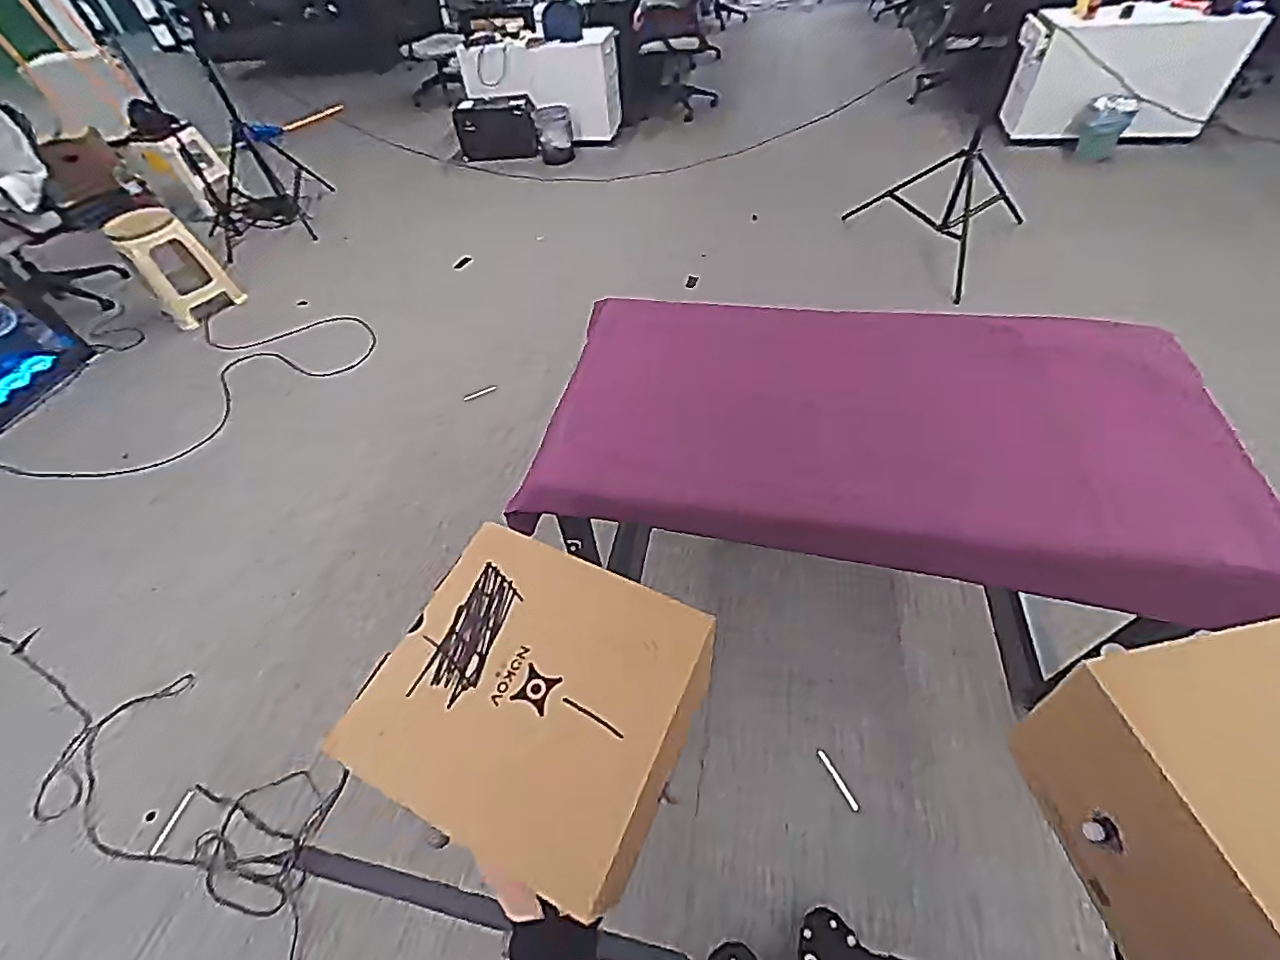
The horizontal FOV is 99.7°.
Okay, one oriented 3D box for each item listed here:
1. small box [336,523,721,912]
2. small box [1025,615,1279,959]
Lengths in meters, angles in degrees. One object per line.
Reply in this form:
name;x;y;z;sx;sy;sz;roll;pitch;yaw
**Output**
small box;-0.057;0.163;0.383;0.179;0.176;0.168;20;60;17
small box;0.379;0.200;0.332;0.179;0.176;0.168;-13;48;3
